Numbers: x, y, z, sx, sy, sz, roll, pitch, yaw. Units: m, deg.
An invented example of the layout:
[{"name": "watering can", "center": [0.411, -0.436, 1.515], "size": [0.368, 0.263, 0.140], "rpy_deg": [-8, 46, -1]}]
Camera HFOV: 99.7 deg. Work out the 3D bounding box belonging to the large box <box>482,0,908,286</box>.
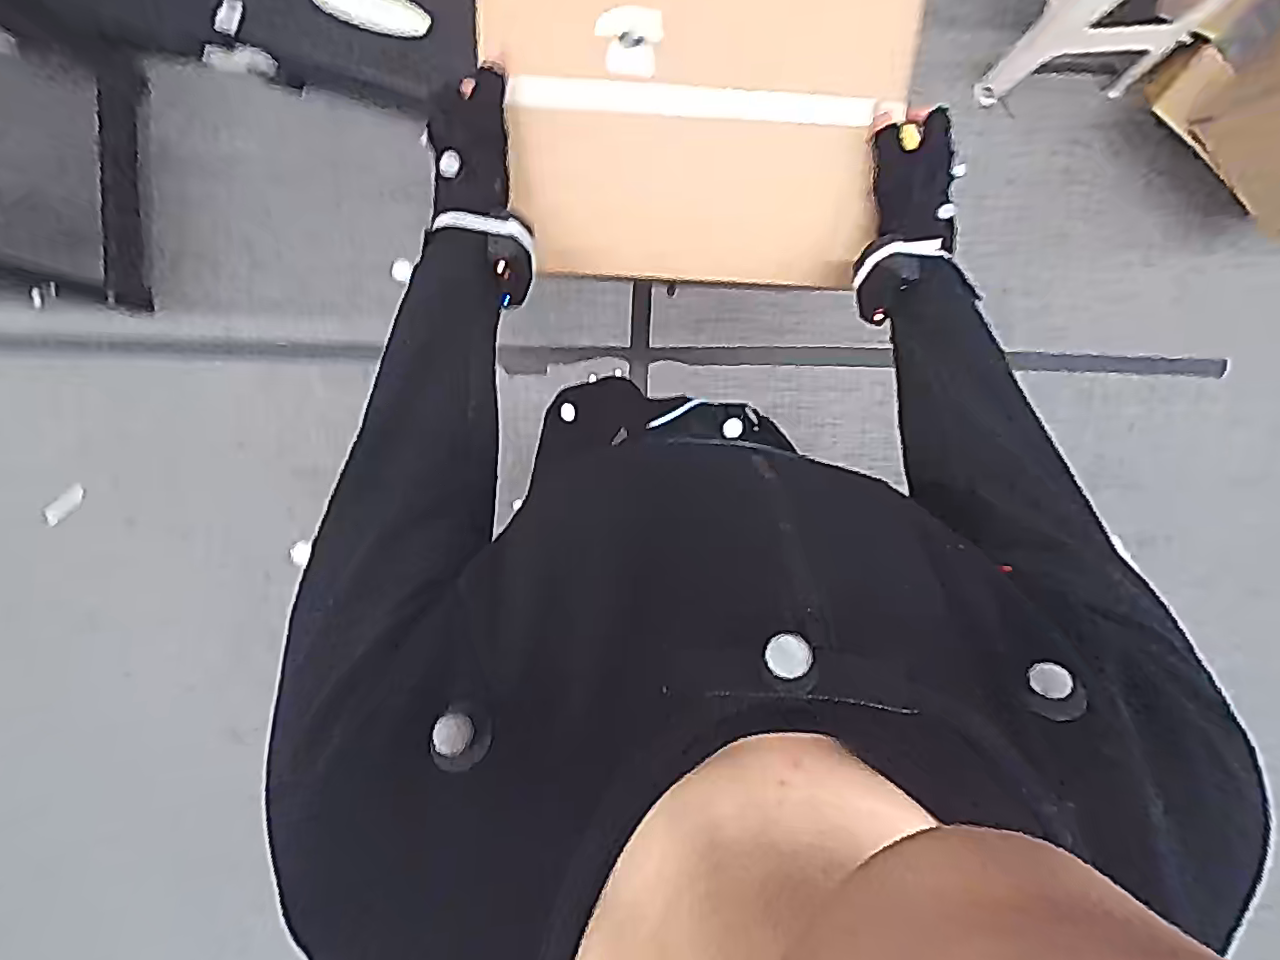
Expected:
[{"name": "large box", "center": [0.045, -0.412, 0.669], "size": [0.408, 0.320, 0.320], "rpy_deg": [2, 108, -3]}]
